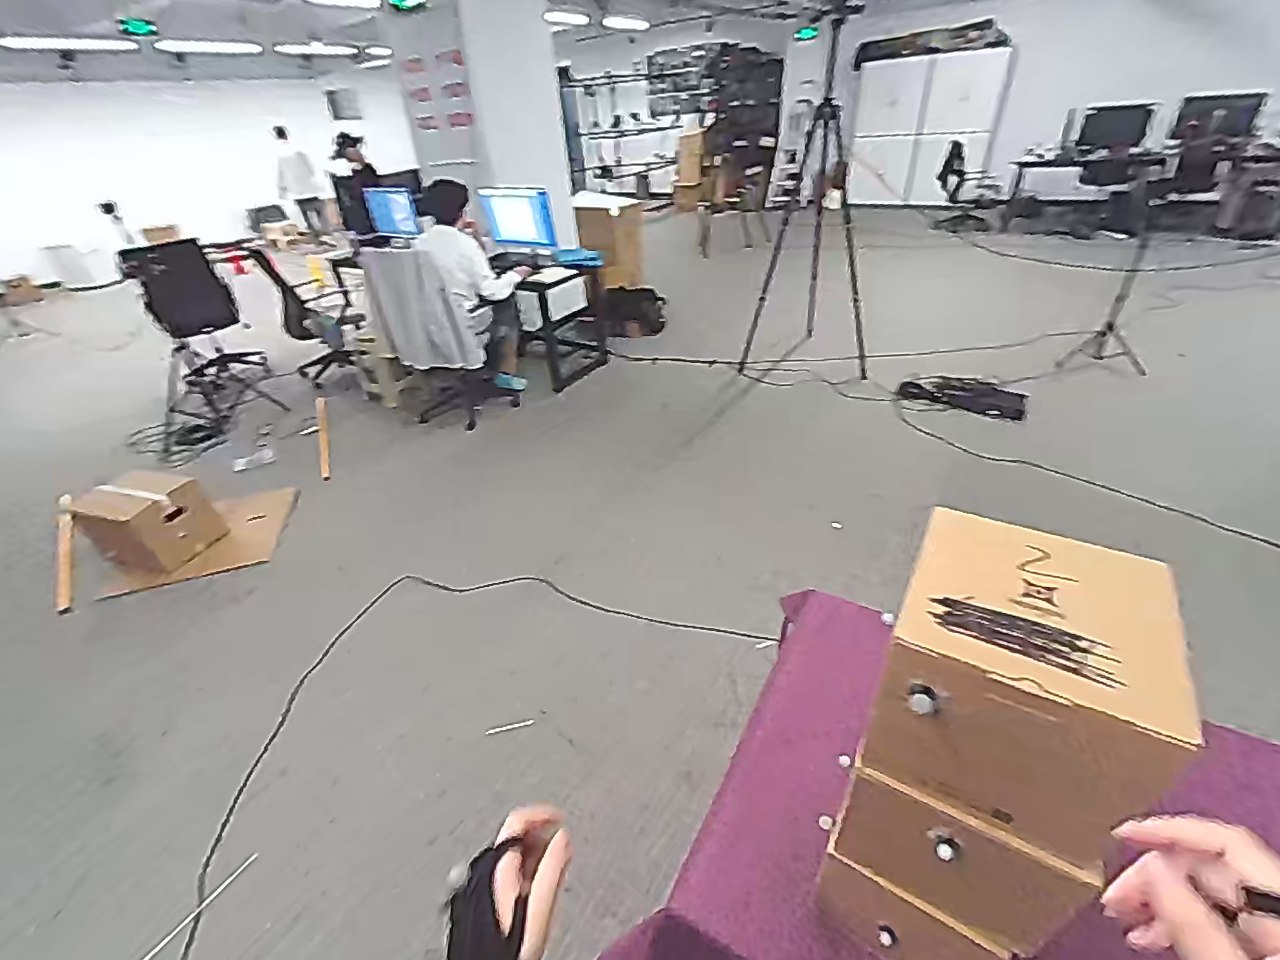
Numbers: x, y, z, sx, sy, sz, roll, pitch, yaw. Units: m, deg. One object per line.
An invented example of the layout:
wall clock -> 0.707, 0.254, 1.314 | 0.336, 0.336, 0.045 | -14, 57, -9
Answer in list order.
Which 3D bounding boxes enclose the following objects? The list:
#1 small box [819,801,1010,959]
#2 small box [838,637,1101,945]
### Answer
small box -> 0.316, 0.427, 0.620 | 0.168, 0.176, 0.179 | 19, 41, 30
small box -> 0.308, 0.295, 0.526 | 0.179, 0.176, 0.168 | 17, 42, 29
